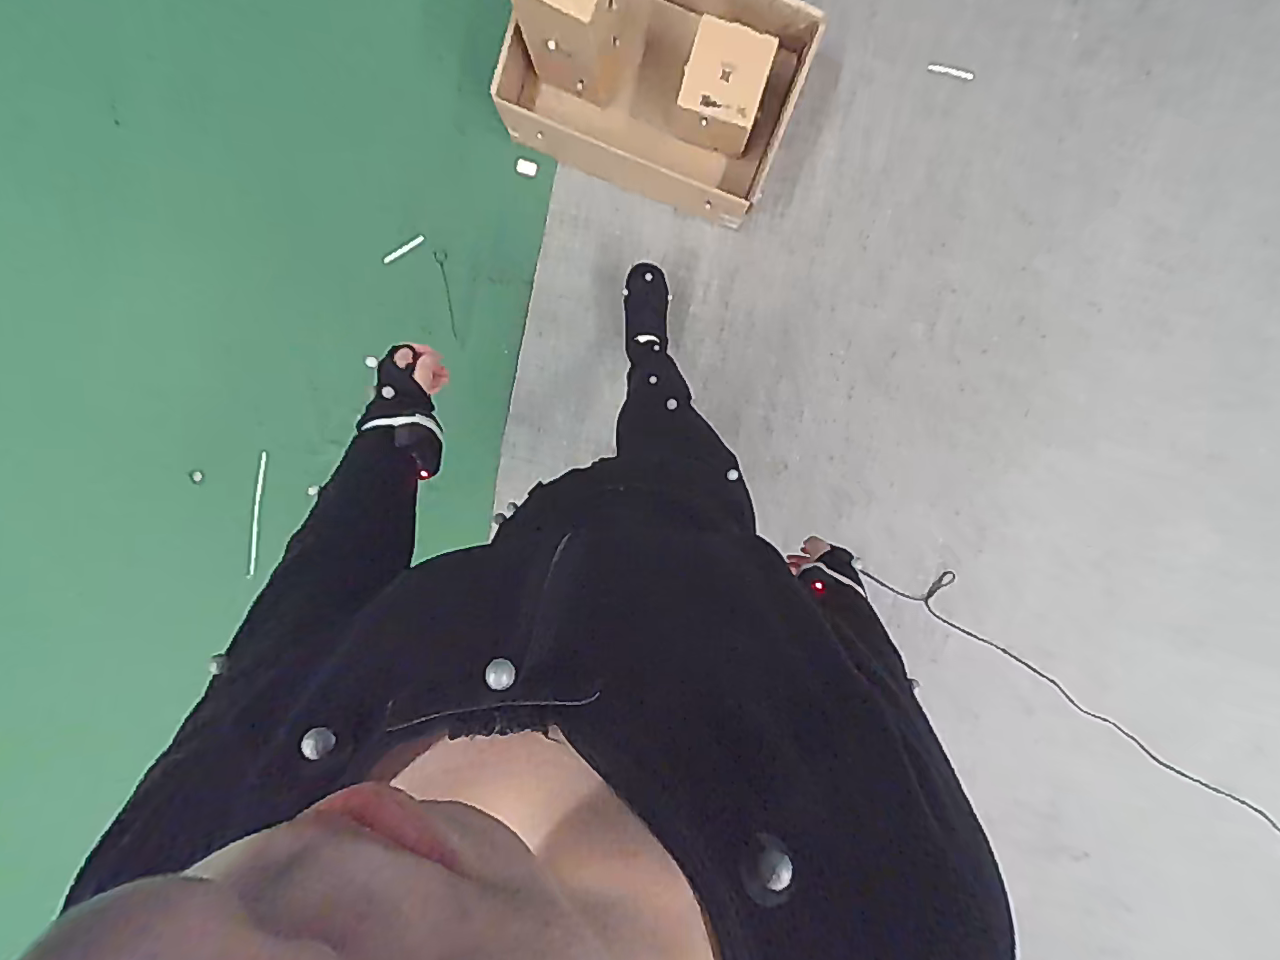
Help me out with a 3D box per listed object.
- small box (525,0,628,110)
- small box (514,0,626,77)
[{"bbox_3d":[-0.129,-0.953,1.174,0.168,0.176,0.179,22,100,-4],"label":"small box"},{"bbox_3d":[-0.128,-0.919,1.014,0.168,0.176,0.179,24,101,-4],"label":"small box"}]
